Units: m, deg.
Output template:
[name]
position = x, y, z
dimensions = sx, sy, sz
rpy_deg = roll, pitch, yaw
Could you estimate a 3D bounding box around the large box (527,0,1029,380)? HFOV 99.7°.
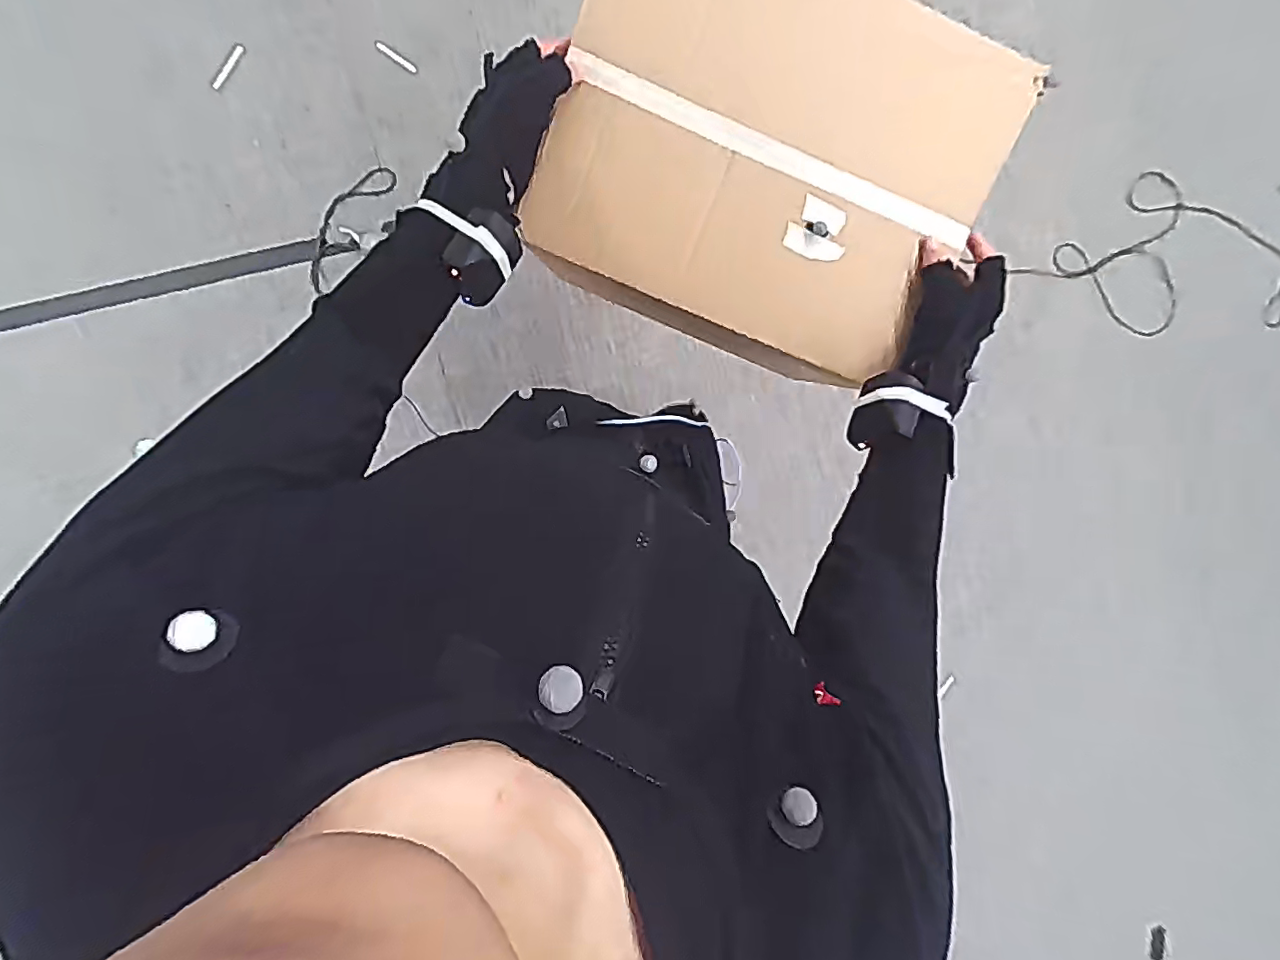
[large box]
position = 0.121, -0.344, 0.658
dimensions = 0.408, 0.320, 0.320
rpy_deg = 21, 103, -6
